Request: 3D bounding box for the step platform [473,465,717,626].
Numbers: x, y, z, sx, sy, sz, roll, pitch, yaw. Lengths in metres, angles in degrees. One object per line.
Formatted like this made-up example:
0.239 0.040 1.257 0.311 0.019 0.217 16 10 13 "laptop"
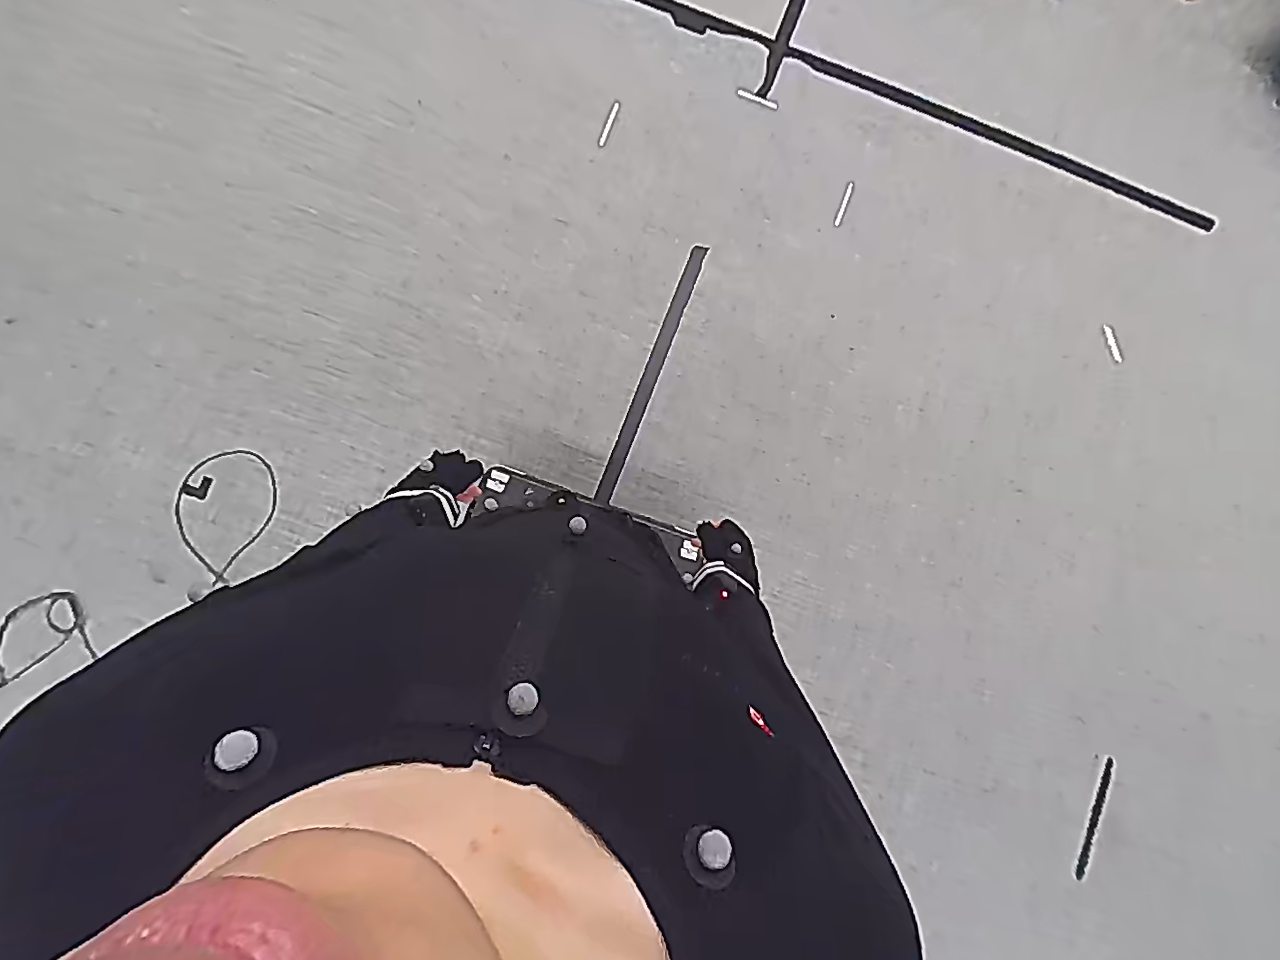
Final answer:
-0.125 0.188 1.576 0.684 0.204 0.286 19 87 -4 "step platform"
